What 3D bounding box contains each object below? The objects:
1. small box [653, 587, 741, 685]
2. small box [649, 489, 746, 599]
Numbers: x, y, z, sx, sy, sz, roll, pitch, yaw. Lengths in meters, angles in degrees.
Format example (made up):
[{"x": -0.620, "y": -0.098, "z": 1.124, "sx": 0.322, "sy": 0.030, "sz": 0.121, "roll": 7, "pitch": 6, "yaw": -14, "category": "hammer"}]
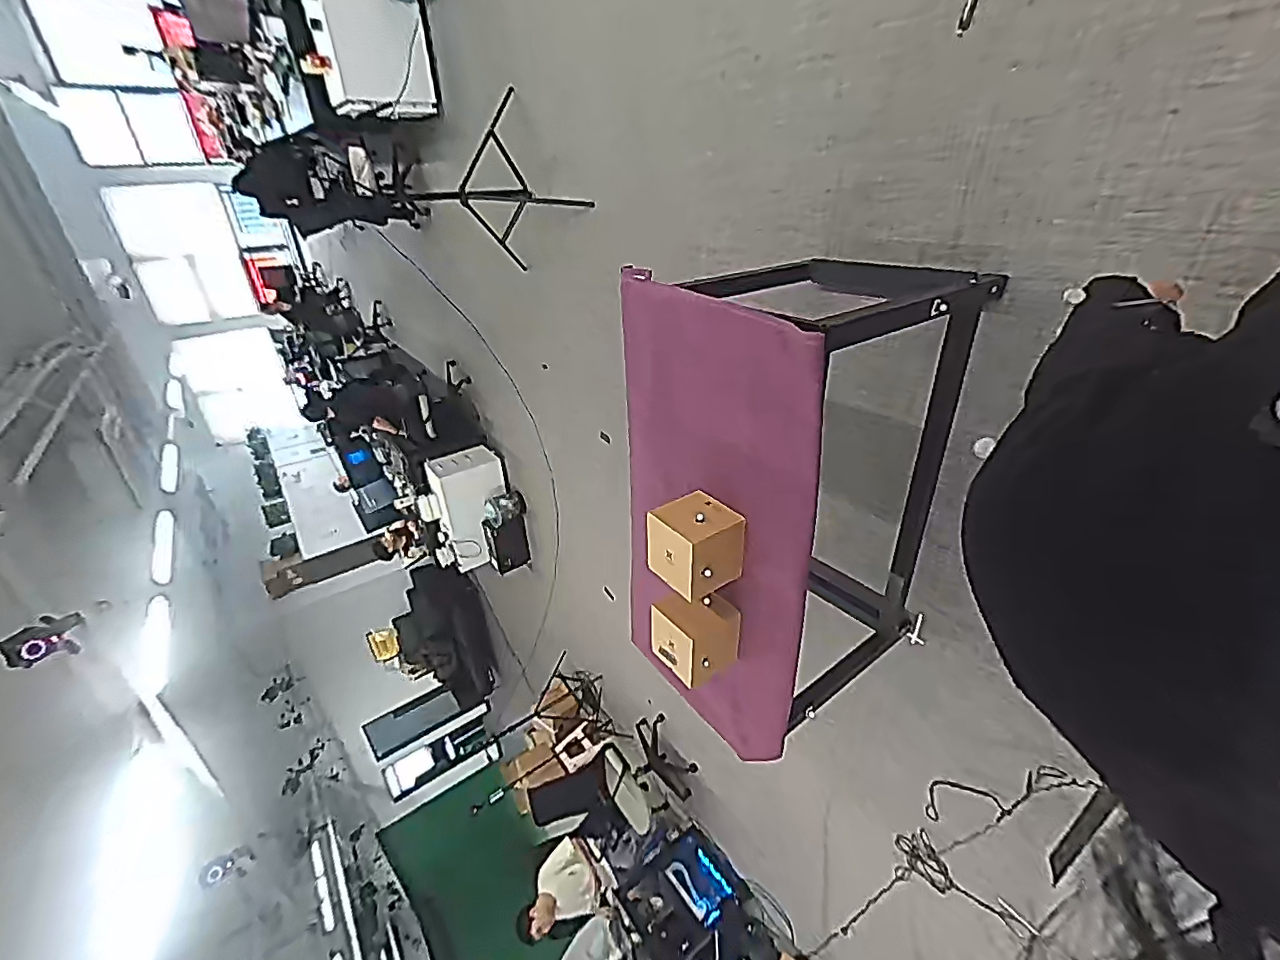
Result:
[{"x": 0.151, "y": 0.396, "z": 1.437, "sx": 0.168, "sy": 0.176, "sz": 0.179, "roll": 33, "pitch": 134, "yaw": 45, "category": "small box"}, {"x": 0.138, "y": 0.145, "z": 1.301, "sx": 0.168, "sy": 0.176, "sz": 0.179, "roll": 34, "pitch": 136, "yaw": 45, "category": "small box"}]
